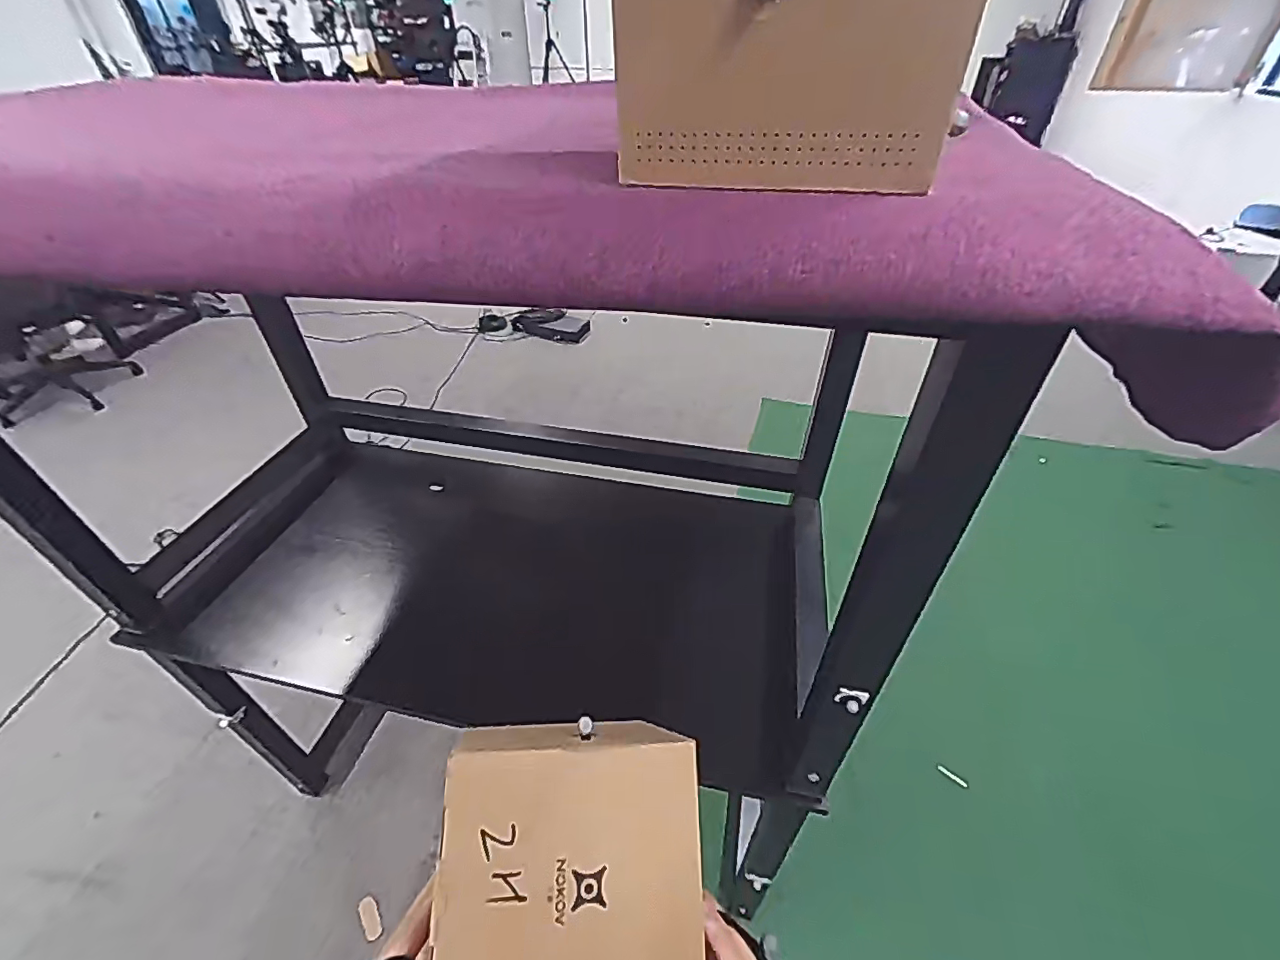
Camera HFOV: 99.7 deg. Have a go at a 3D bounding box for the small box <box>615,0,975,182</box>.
[{"bbox_3d":[0.090,-0.282,0.312,0.179,0.176,0.168,8,41,12],"label":"small box"}]
